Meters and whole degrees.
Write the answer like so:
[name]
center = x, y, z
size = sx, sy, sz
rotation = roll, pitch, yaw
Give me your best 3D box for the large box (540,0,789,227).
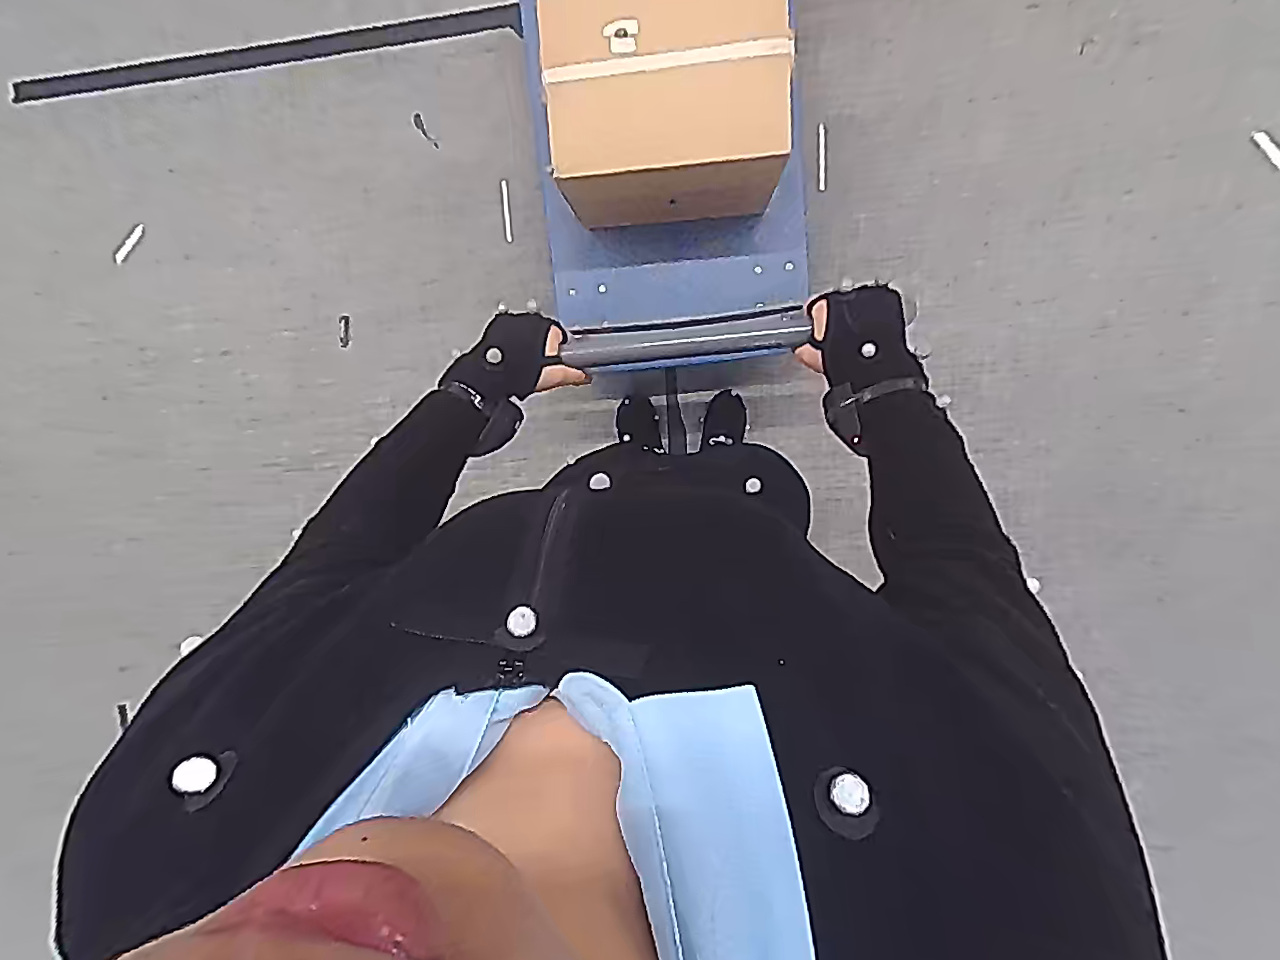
[large box]
center = 0.055, -0.710, 1.046
size = 0.408, 0.320, 0.320
rotation = -3, 99, 6
